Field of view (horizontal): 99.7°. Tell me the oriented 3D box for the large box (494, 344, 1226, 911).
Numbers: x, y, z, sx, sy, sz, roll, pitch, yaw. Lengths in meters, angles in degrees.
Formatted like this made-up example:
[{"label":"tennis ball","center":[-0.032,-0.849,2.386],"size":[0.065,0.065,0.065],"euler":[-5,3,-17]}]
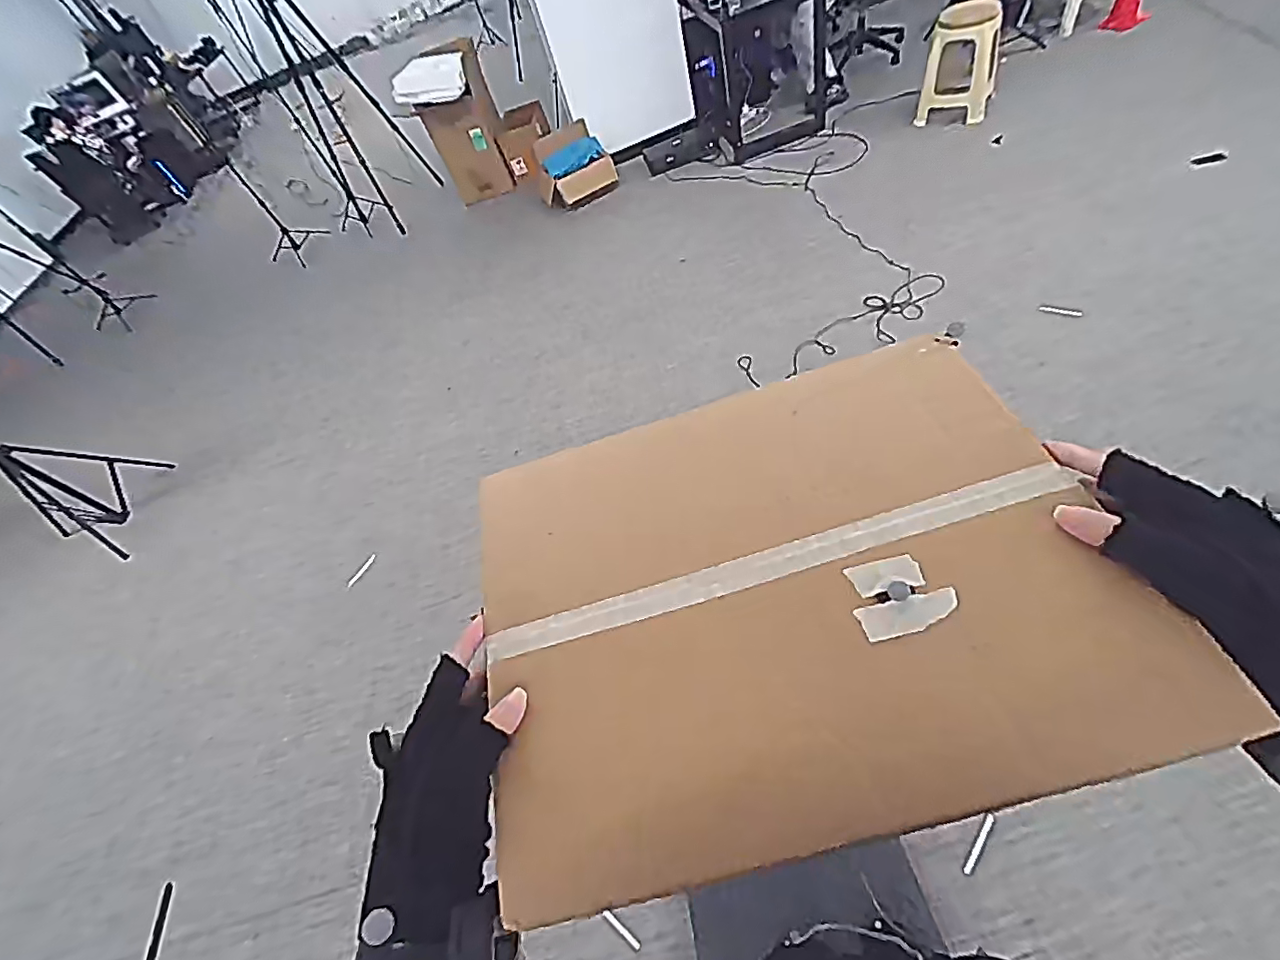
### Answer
[{"label":"large box","center":[0.122,0.144,0.500],"size":[0.408,0.320,0.320],"euler":[-18,55,3]}]
